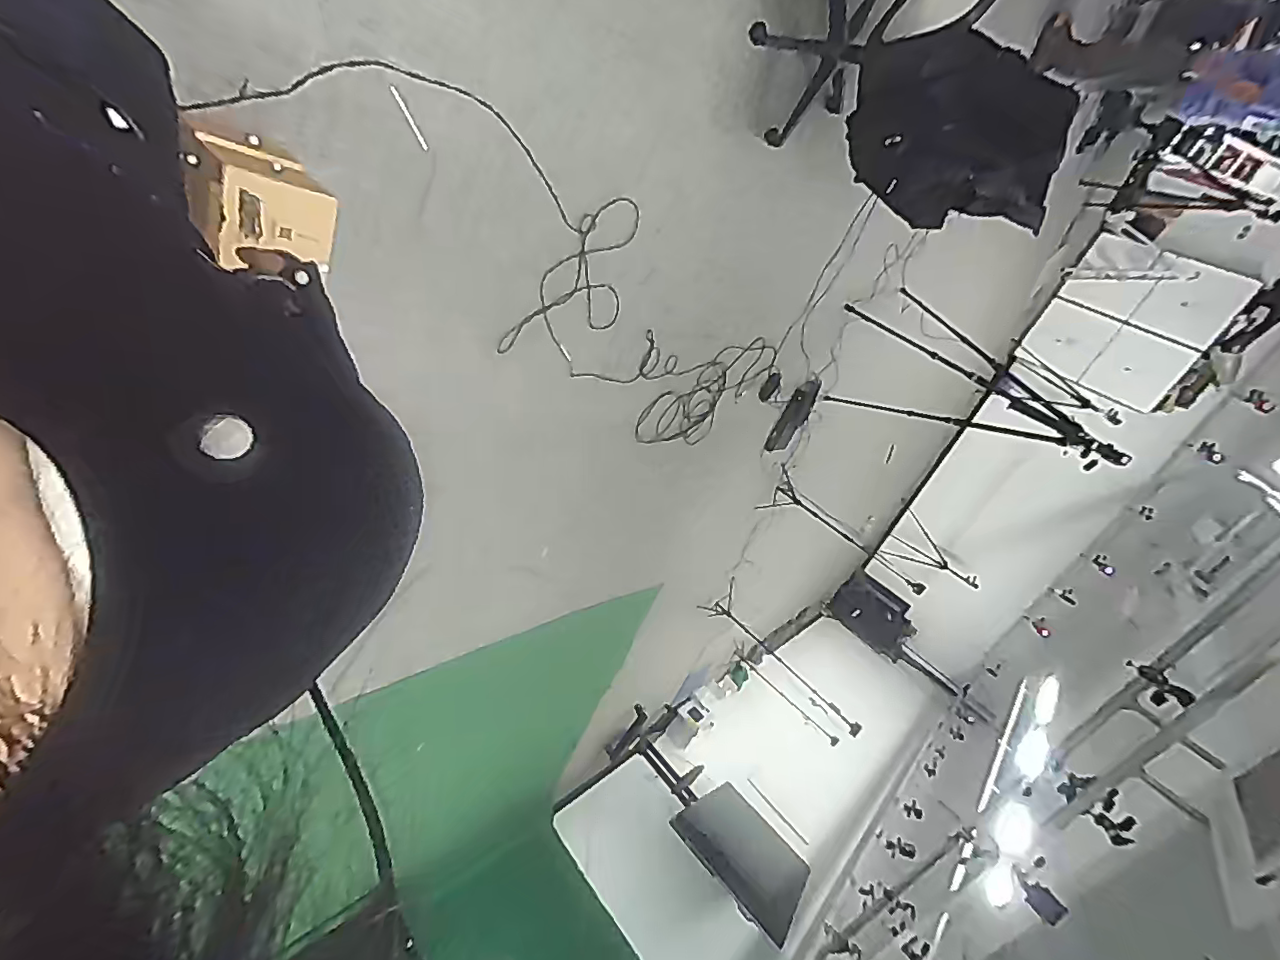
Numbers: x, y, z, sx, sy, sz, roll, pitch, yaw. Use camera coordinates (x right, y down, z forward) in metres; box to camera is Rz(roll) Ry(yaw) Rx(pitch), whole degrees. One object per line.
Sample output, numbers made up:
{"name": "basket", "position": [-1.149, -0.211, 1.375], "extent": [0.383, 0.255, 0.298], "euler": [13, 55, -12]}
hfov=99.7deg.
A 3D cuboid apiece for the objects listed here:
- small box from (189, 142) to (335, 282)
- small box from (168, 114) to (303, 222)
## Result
{"name": "small box", "position": [-0.696, -0.489, 0.989], "extent": [0.179, 0.176, 0.168], "euler": [-8, 131, -51]}
{"name": "small box", "position": [-0.801, -0.591, 1.065], "extent": [0.179, 0.176, 0.168], "euler": [-8, 131, -50]}
